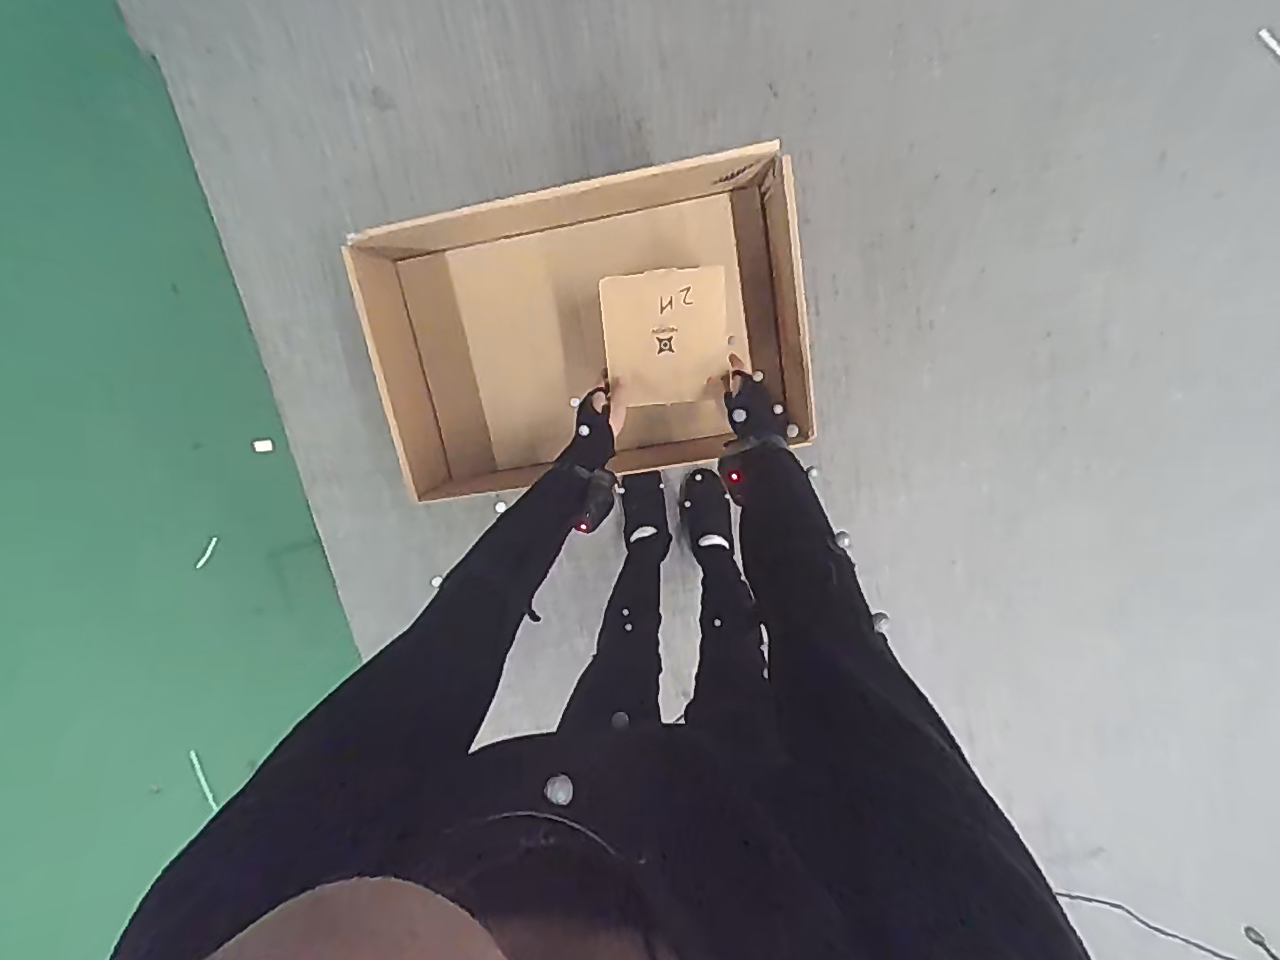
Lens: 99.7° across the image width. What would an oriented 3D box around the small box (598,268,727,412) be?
[{"bbox_3d":[0.039,-0.199,0.785,0.168,0.176,0.179,-3,103,5],"label":"small box"}]
